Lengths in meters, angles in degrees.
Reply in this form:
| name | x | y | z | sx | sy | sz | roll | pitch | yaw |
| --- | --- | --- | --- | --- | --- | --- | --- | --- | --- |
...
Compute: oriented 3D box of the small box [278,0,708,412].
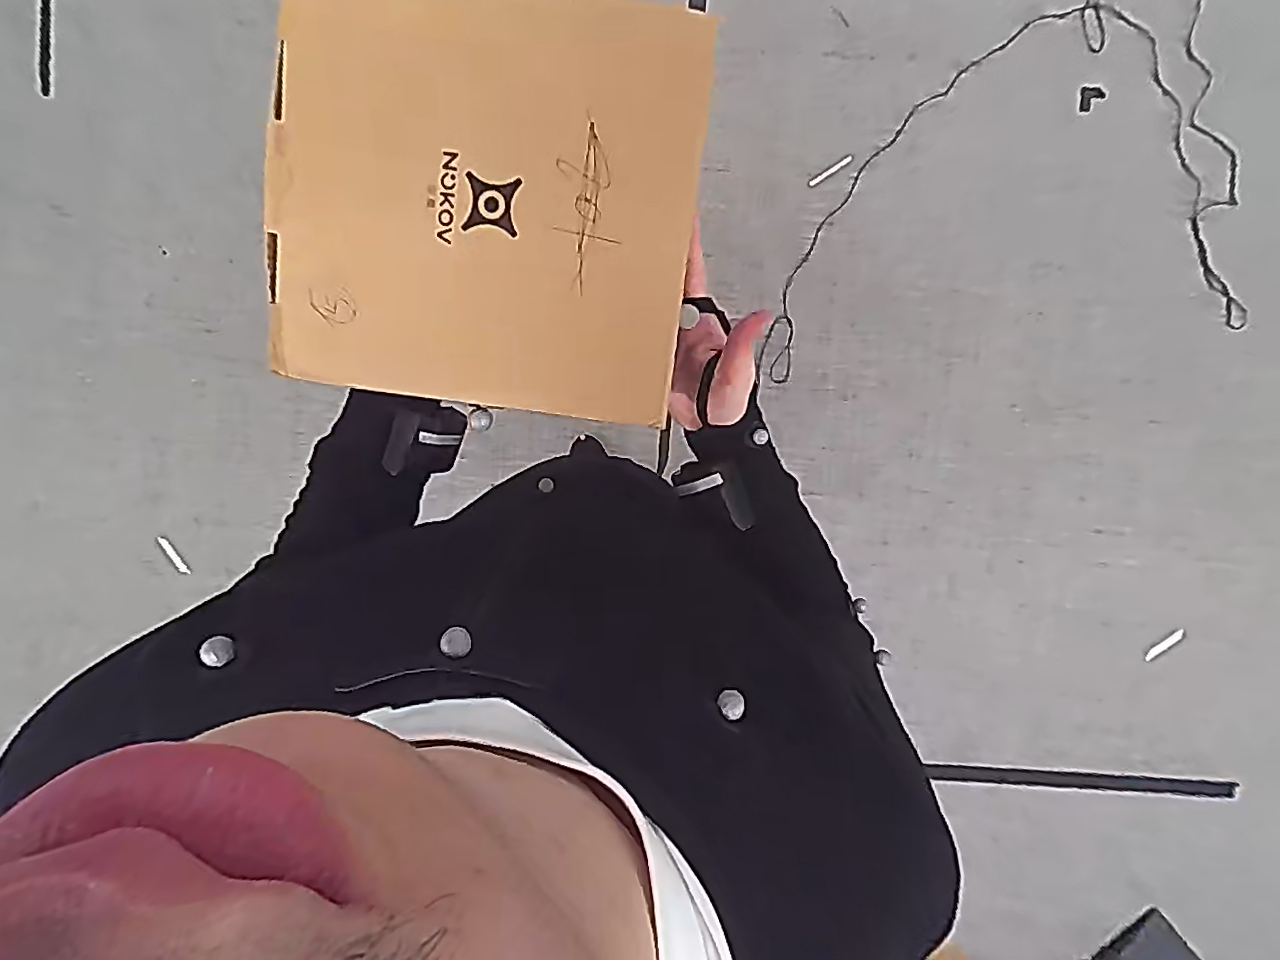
| name | x | y | z | sx | sy | sz | roll | pitch | yaw |
| --- | --- | --- | --- | --- | --- | --- | --- | --- | --- |
| small box | -0.068 | -0.132 | 0.316 | 0.179 | 0.176 | 0.168 | 7 | 98 | -2 |
